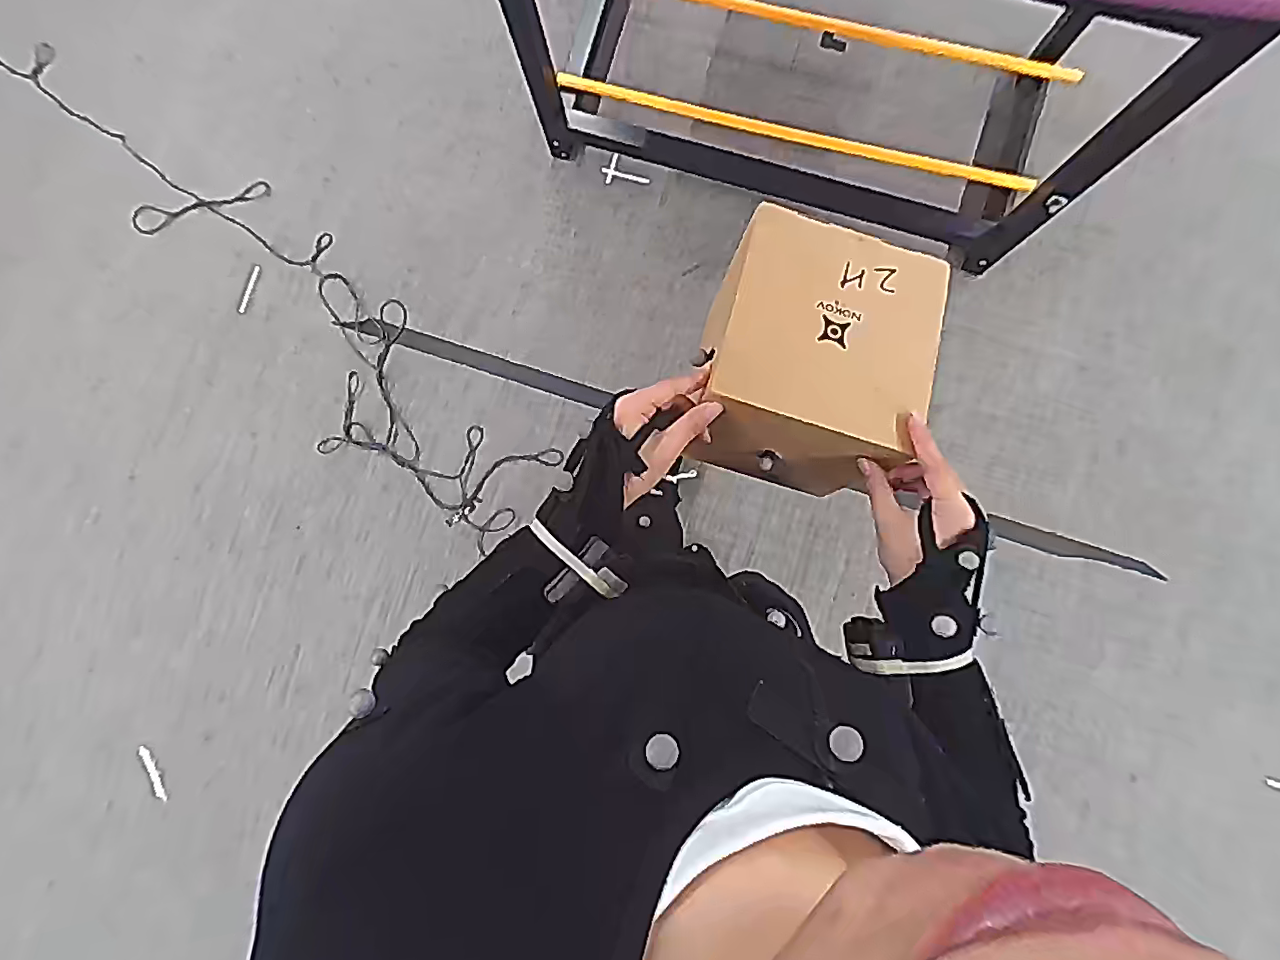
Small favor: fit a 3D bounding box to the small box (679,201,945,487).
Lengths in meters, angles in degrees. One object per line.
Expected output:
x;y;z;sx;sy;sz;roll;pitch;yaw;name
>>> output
0.142;-0.106;0.500;0.168;0.176;0.179;17;75;-4;small box
